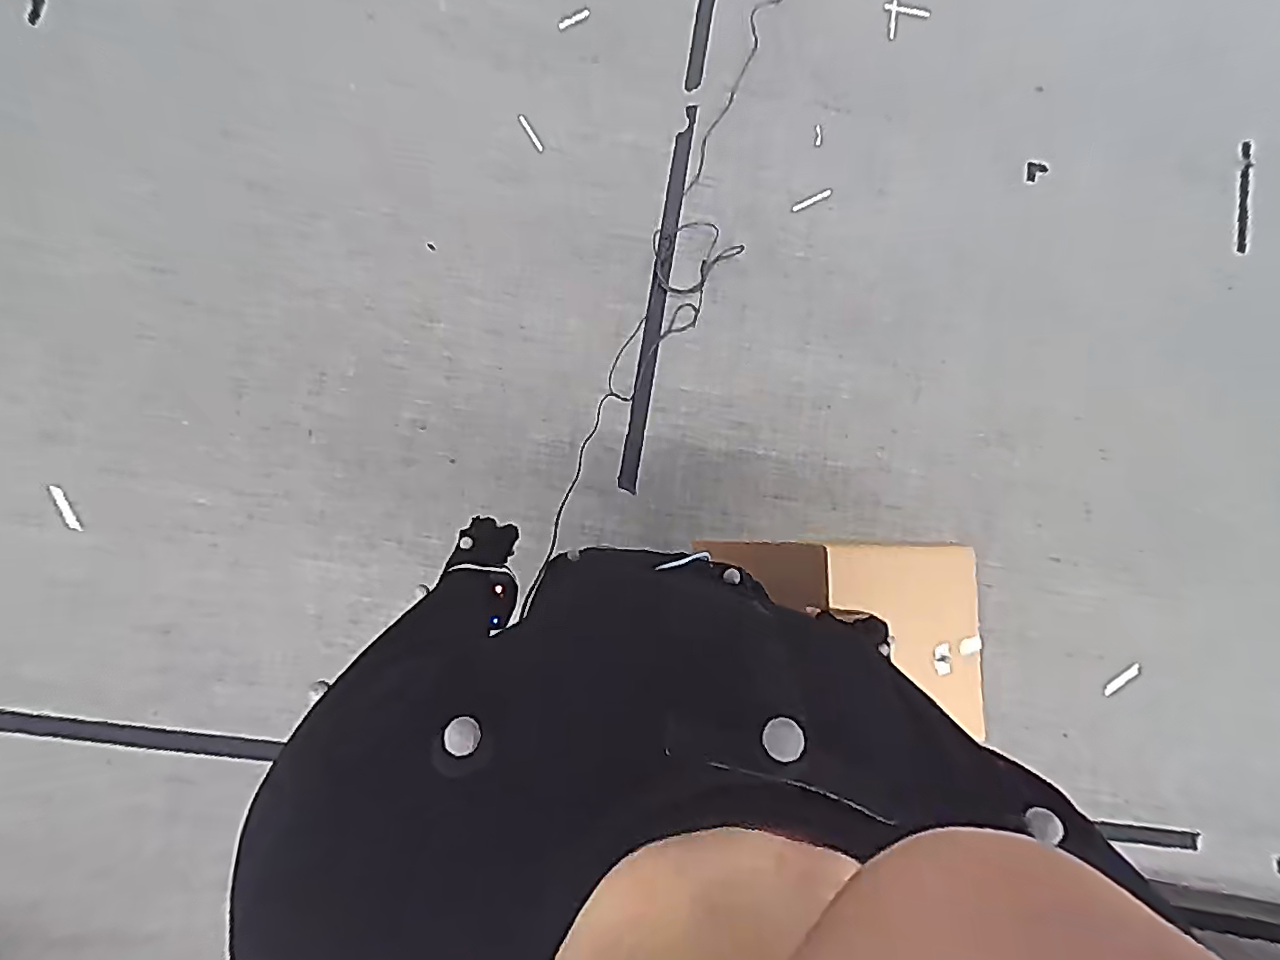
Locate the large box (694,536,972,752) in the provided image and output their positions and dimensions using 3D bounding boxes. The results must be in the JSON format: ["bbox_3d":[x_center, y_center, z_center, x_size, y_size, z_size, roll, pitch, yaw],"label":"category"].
[{"bbox_3d":[0.333,0.267,1.021,0.320,0.408,0.320,4,83,-21],"label":"large box"}]
